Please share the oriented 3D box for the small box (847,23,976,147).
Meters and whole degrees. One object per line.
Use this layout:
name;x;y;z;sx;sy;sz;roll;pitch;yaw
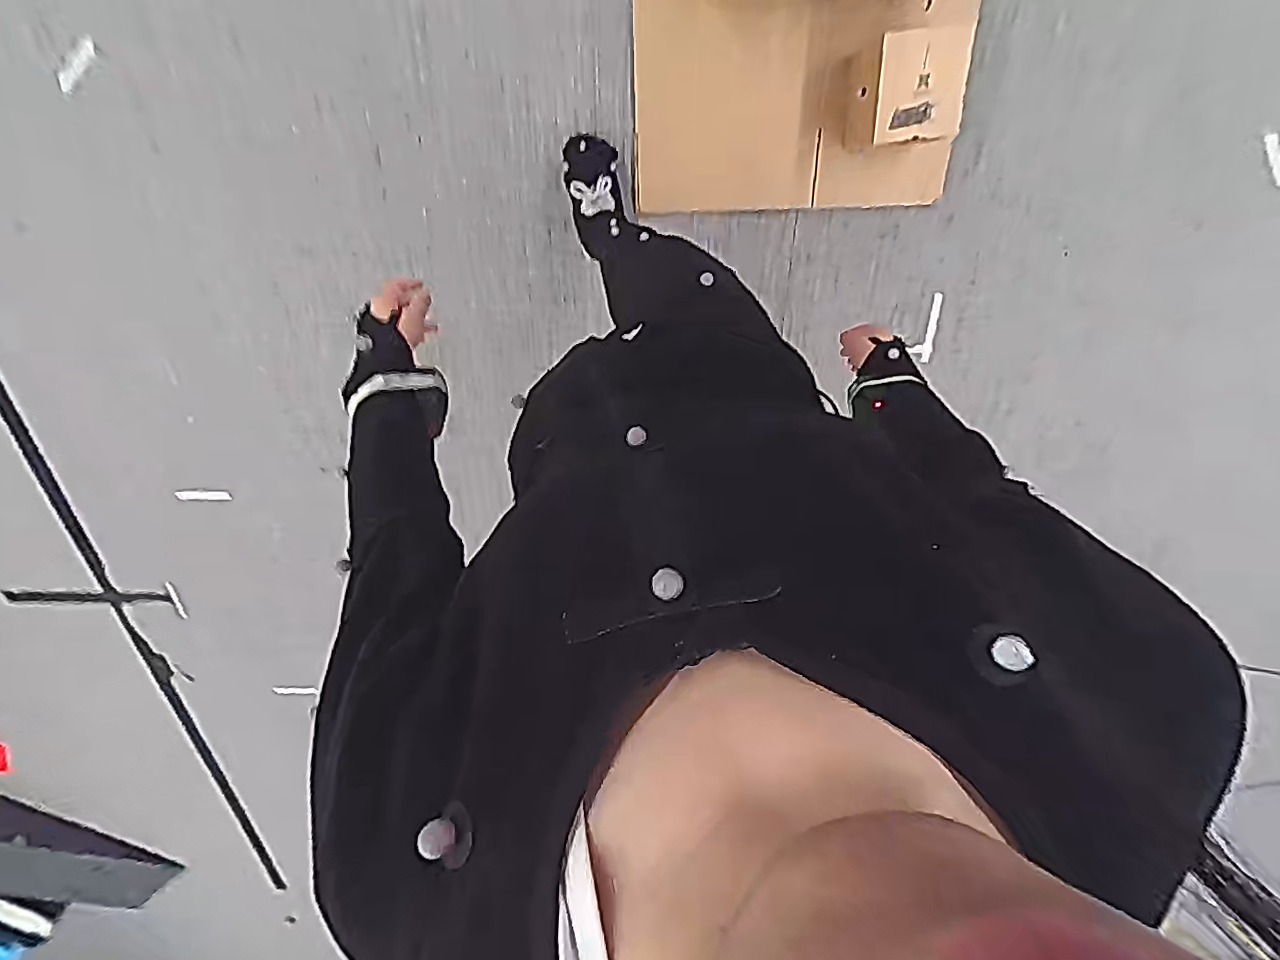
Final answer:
small box;0.524;-0.771;1.074;0.168;0.176;0.179;-5;118;1
